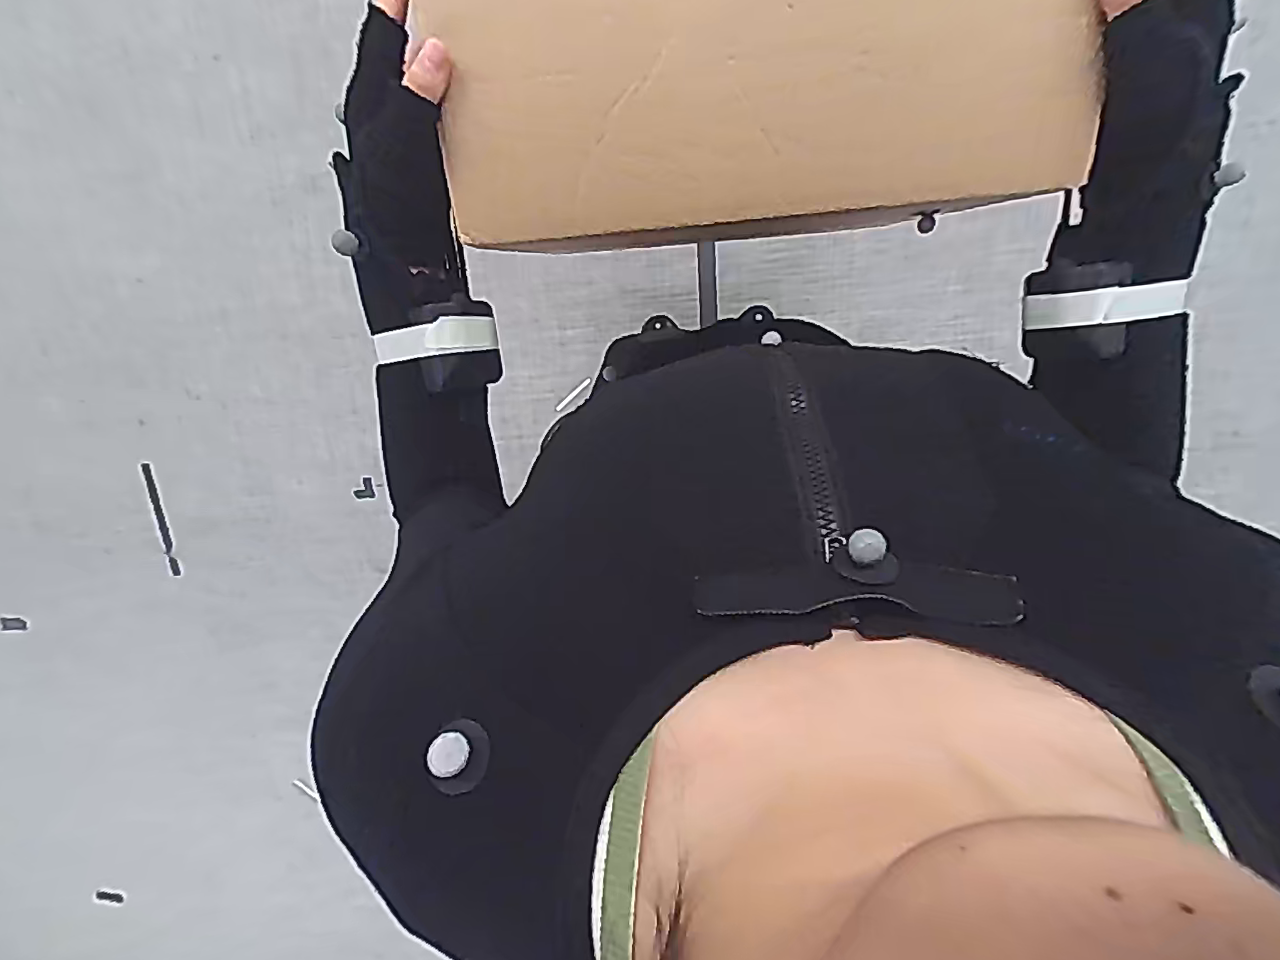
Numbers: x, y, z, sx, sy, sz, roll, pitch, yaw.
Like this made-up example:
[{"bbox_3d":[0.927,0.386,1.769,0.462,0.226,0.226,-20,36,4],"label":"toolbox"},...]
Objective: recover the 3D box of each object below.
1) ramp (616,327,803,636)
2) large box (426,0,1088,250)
[{"bbox_3d":[0.226,0.067,1.619,0.509,0.206,0.991,-6,106,4],"label":"ramp"},{"bbox_3d":[0.071,-0.377,0.450,0.408,0.320,0.320,-4,111,4],"label":"large box"}]
